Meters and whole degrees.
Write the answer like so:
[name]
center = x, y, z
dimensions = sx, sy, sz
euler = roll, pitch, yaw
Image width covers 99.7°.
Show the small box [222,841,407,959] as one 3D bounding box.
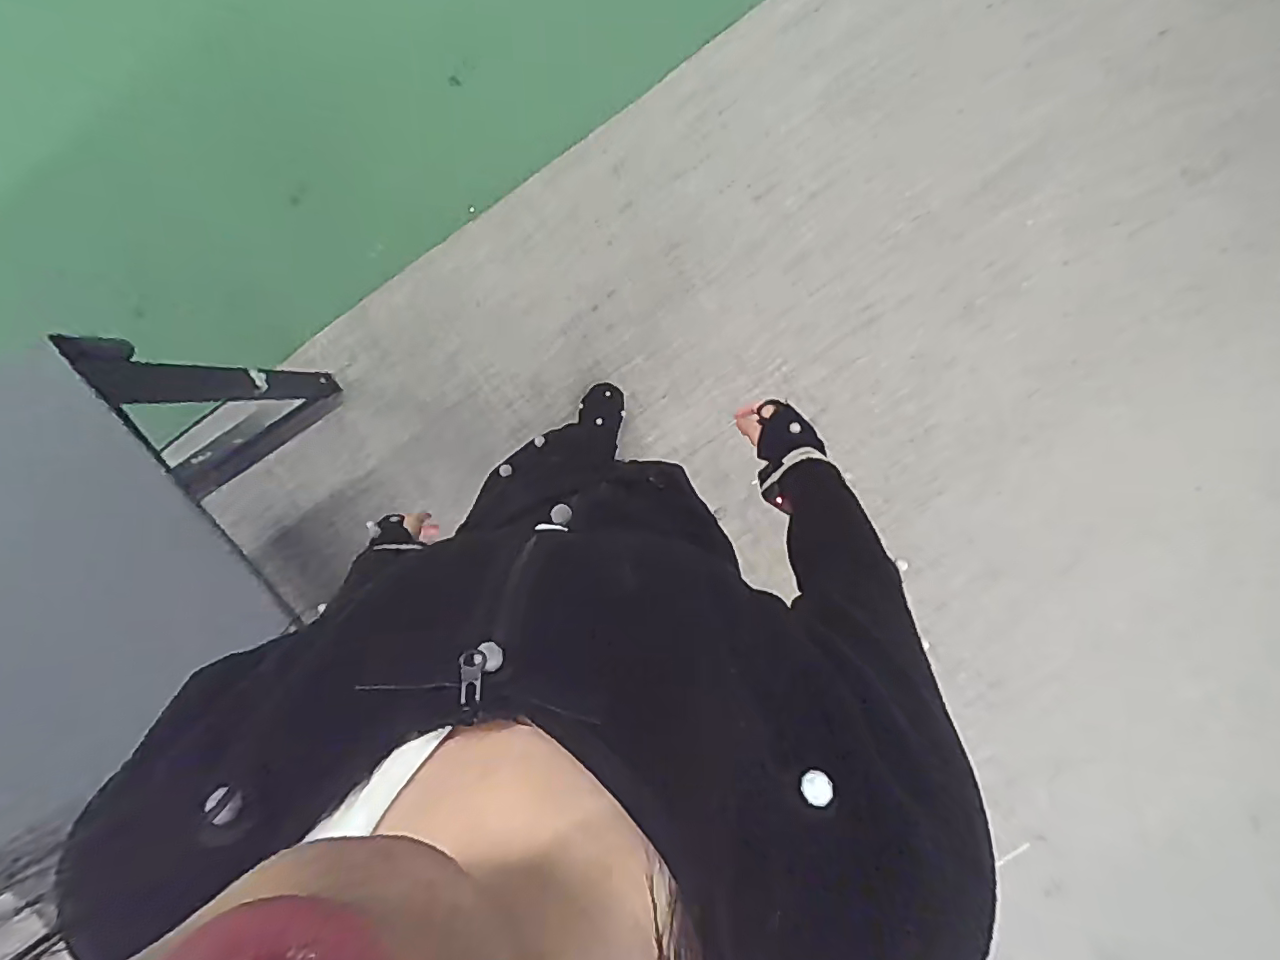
[small box]
center = -0.465, 0.674, 0.779
dimensions = 0.179, 0.176, 0.168
euler = -28, 99, 4
